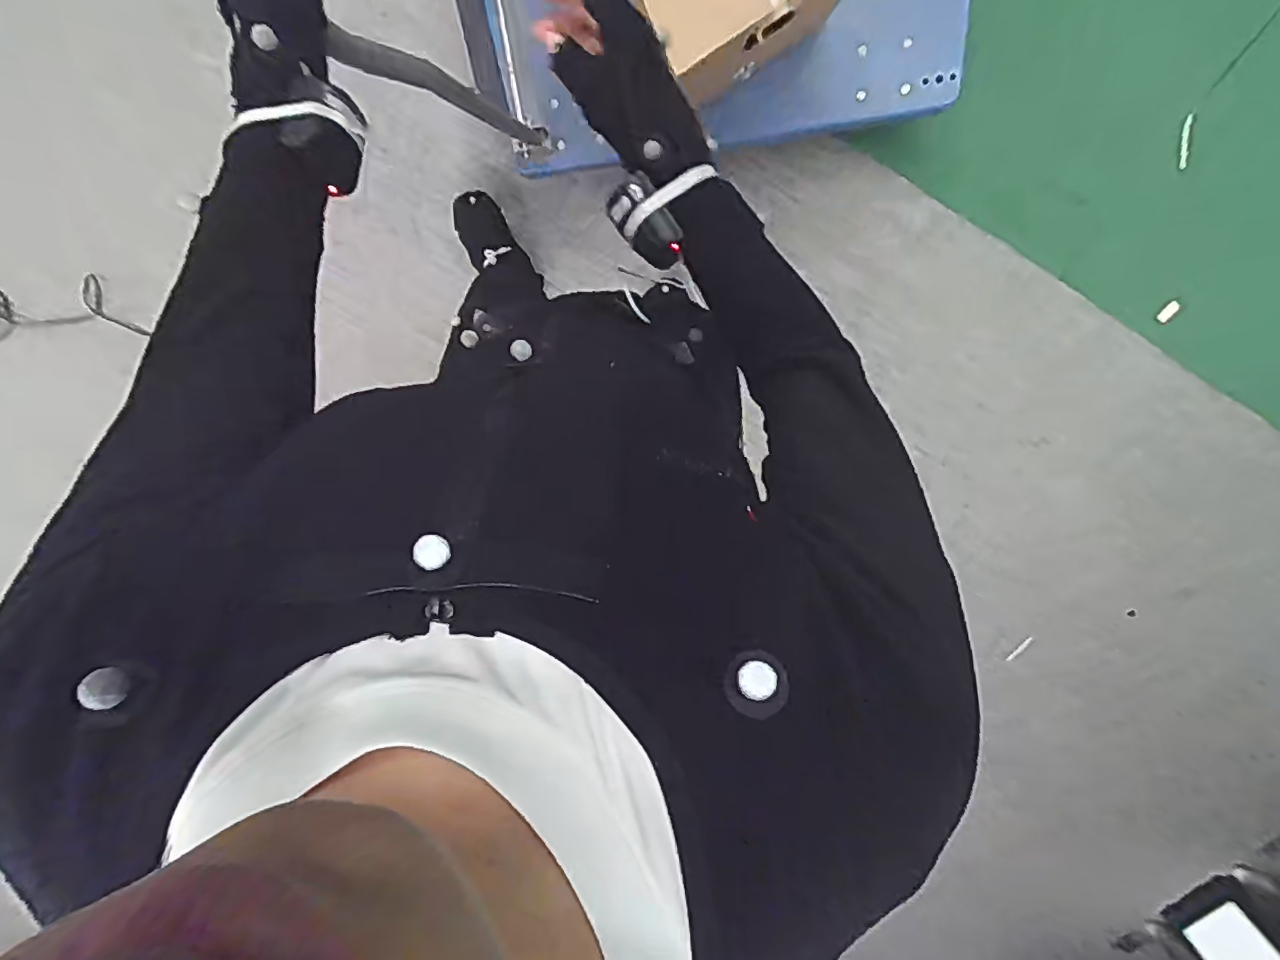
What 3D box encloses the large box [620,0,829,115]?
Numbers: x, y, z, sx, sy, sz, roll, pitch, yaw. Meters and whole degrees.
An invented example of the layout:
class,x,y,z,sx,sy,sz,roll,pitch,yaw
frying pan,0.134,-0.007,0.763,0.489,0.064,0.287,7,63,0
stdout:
class,x,y,z,sx,sy,sz,roll,pitch,yaw
large box,0.088,-0.869,0.814,0.320,0.320,0.408,-26,109,13
